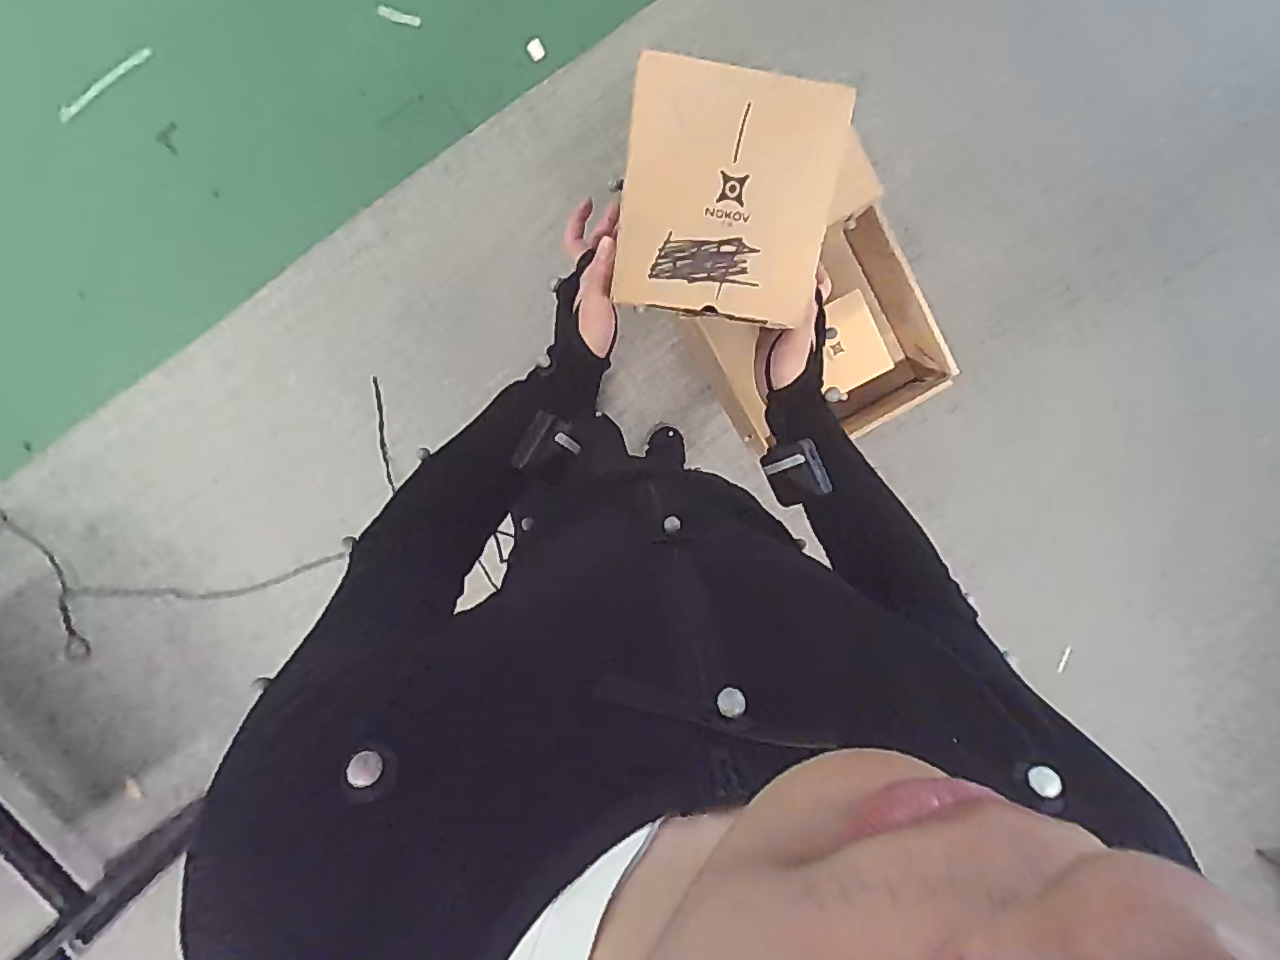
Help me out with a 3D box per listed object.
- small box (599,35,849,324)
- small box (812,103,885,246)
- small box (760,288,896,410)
[{"bbox_3d":[0.056,-0.246,0.484,0.168,0.176,0.179,6,110,-6],"label":"small box"},{"bbox_3d":[0.253,-0.471,0.878,0.179,0.176,0.168,-29,96,4],"label":"small box"},{"bbox_3d":[0.363,-0.254,1.075,0.179,0.176,0.168,-27,97,5],"label":"small box"}]
